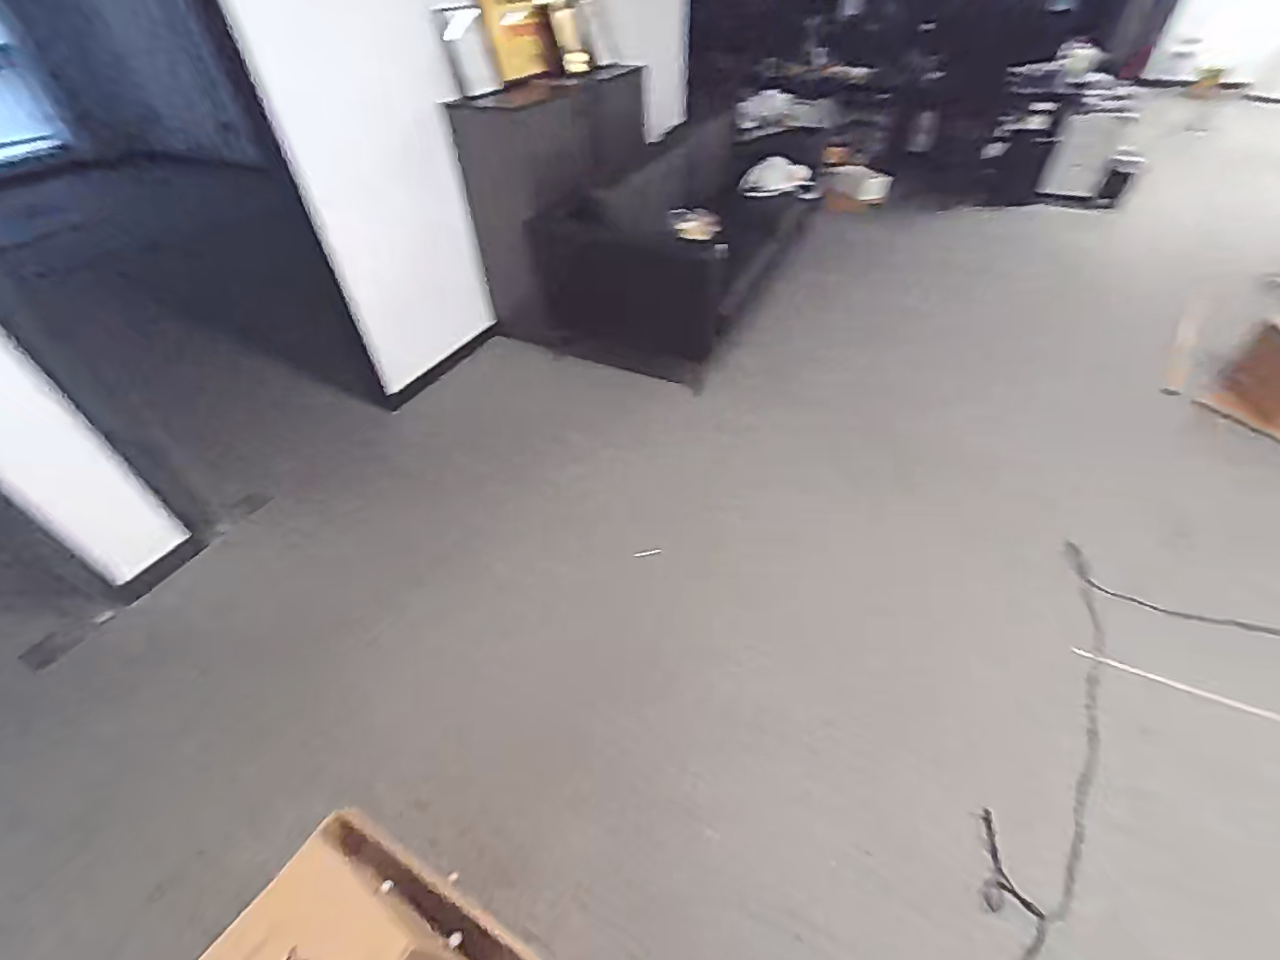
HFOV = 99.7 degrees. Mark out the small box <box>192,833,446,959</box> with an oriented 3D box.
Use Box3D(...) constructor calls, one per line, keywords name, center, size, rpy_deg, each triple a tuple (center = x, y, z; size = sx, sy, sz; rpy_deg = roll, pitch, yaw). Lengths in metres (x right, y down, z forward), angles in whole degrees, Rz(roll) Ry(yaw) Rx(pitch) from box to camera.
Box3D(name="small box", center=(-0.346, 0.541, 0.594), size=(0.179, 0.176, 0.168), rpy_deg=(24, 48, 26))
